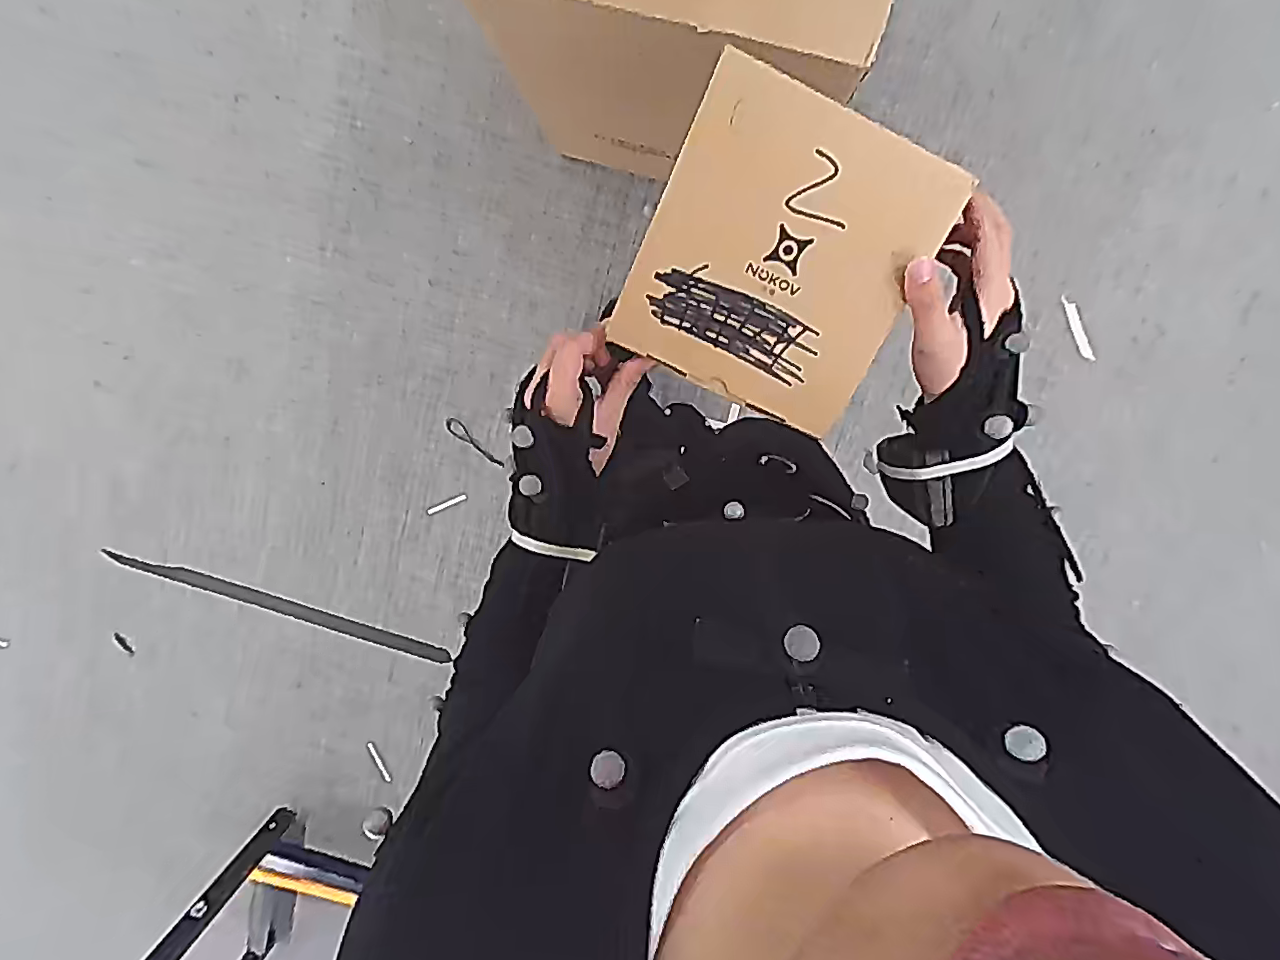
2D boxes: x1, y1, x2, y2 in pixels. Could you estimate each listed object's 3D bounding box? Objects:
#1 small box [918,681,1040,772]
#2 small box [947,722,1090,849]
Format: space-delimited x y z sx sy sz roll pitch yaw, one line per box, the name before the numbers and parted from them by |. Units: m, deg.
small box | 0.855 0.644 1.383 0.179 0.176 0.168 16 103 2
small box | 0.842 0.680 1.223 0.179 0.176 0.168 15 102 2
